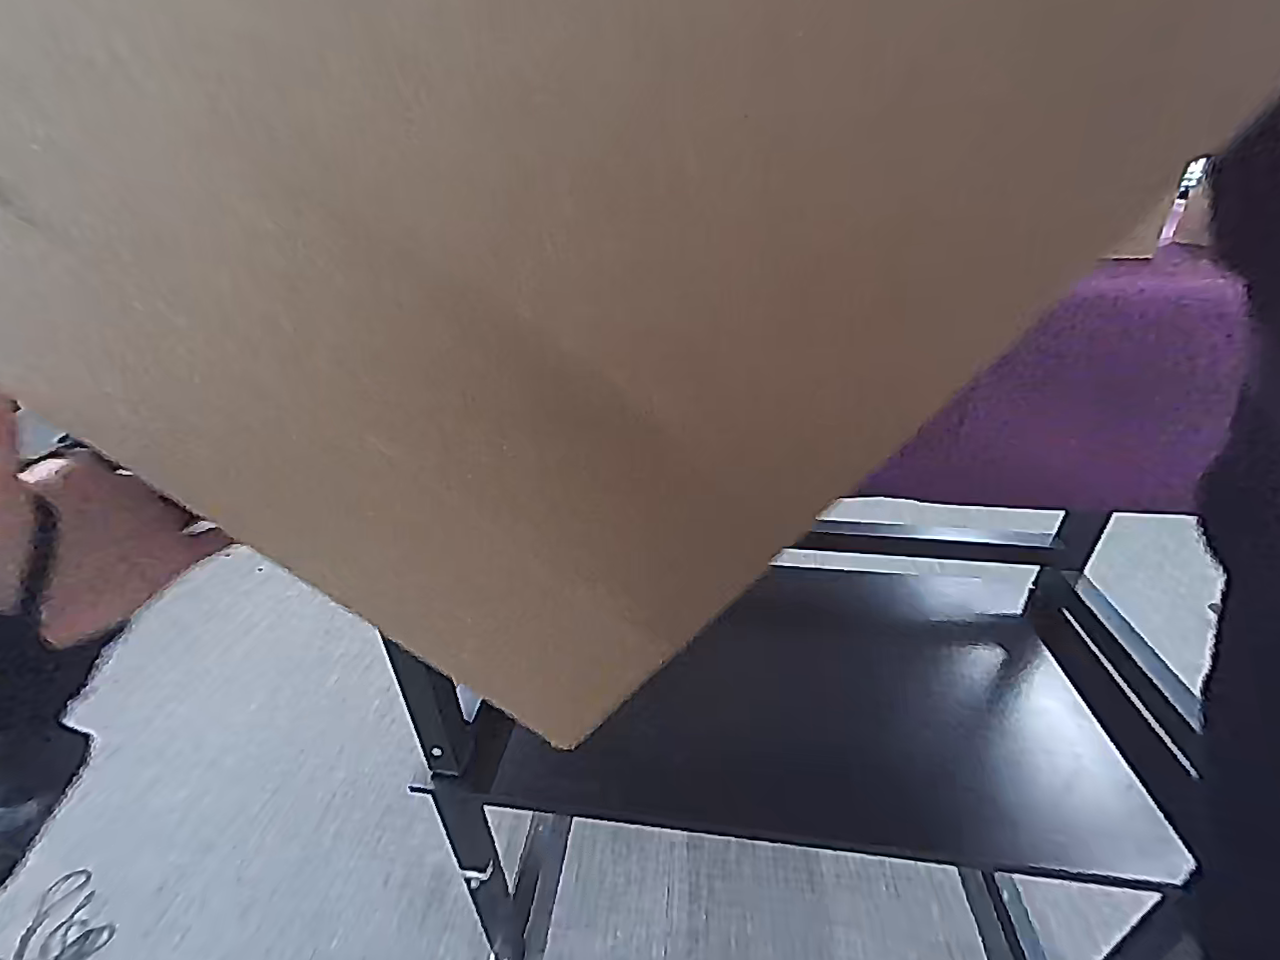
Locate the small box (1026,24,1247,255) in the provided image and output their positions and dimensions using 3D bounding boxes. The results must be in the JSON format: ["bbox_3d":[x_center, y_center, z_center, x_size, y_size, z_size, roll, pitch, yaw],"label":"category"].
[{"bbox_3d":[0.389,-0.317,0.528,0.179,0.176,0.168,2,29,8],"label":"small box"}]

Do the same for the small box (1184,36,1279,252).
[{"bbox_3d":[0.649,-0.290,0.463,0.179,0.176,0.168,2,29,5],"label":"small box"}]
